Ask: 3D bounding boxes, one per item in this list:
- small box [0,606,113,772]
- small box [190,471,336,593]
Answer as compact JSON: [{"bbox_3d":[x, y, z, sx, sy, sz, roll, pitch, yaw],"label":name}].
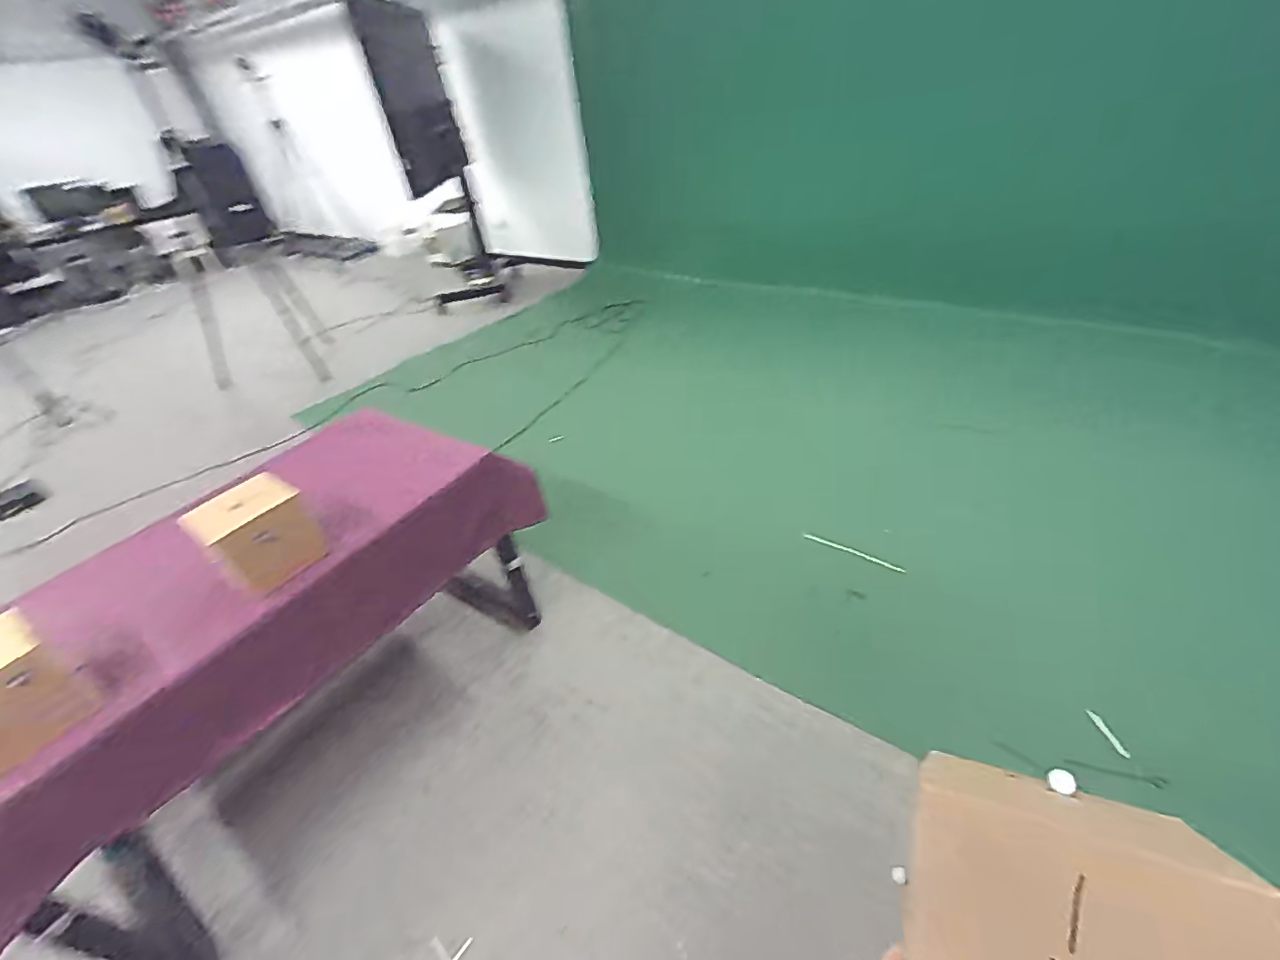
[{"bbox_3d":[-1.062,0.354,0.907,0.168,0.176,0.179,18,43,31],"label":"small box"},{"bbox_3d":[-0.808,0.113,1.174,0.168,0.176,0.179,20,45,31],"label":"small box"}]
